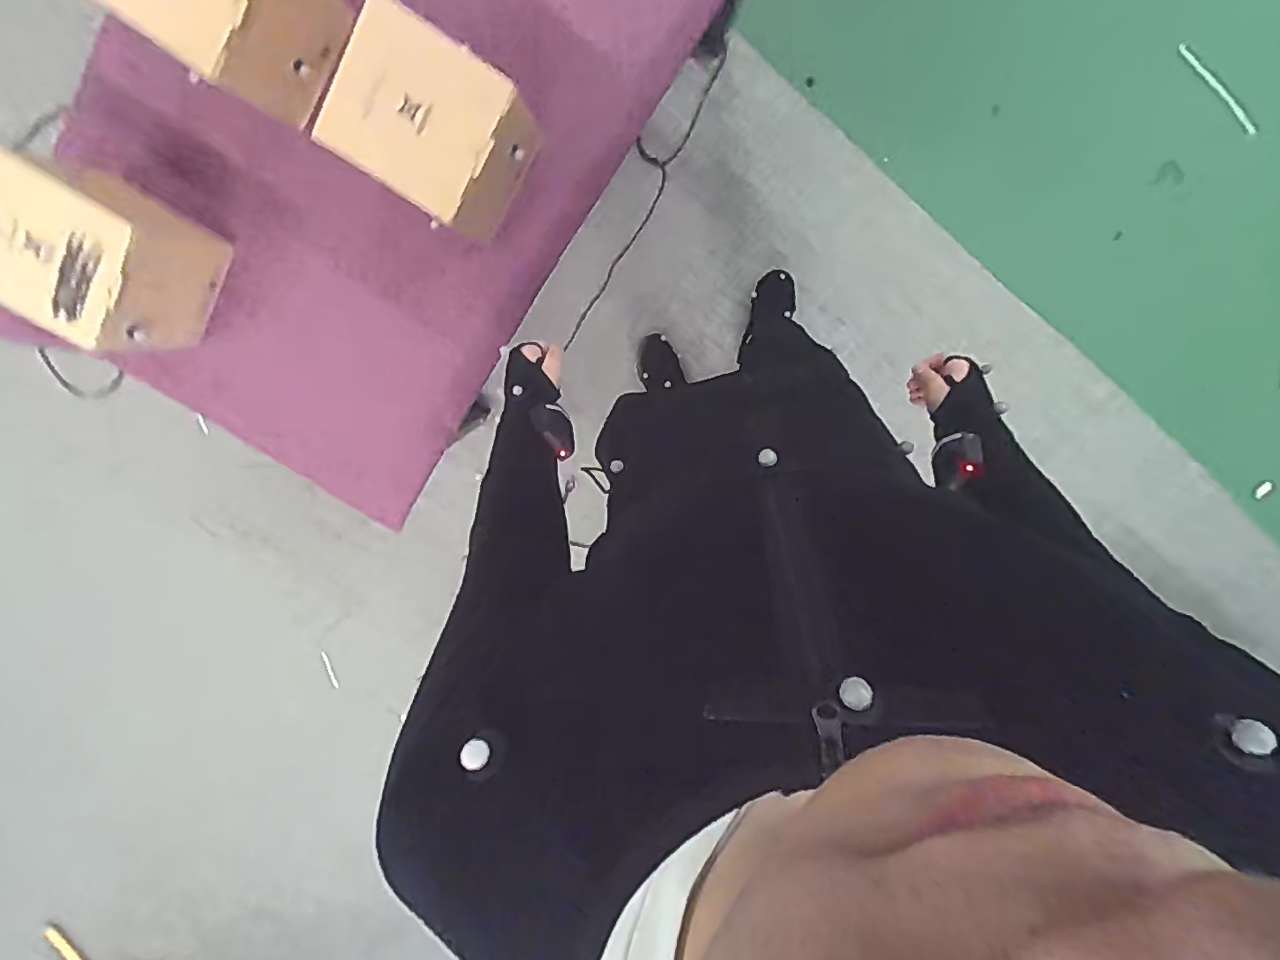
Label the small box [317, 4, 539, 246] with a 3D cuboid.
[{"bbox_3d":[-0.248,-0.417,0.677,0.179,0.176,0.168,31,103,-7],"label":"small box"}]

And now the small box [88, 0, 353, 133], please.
[{"bbox_3d":[-0.487,-0.556,0.639,0.179,0.176,0.168,33,103,-10],"label":"small box"}]
